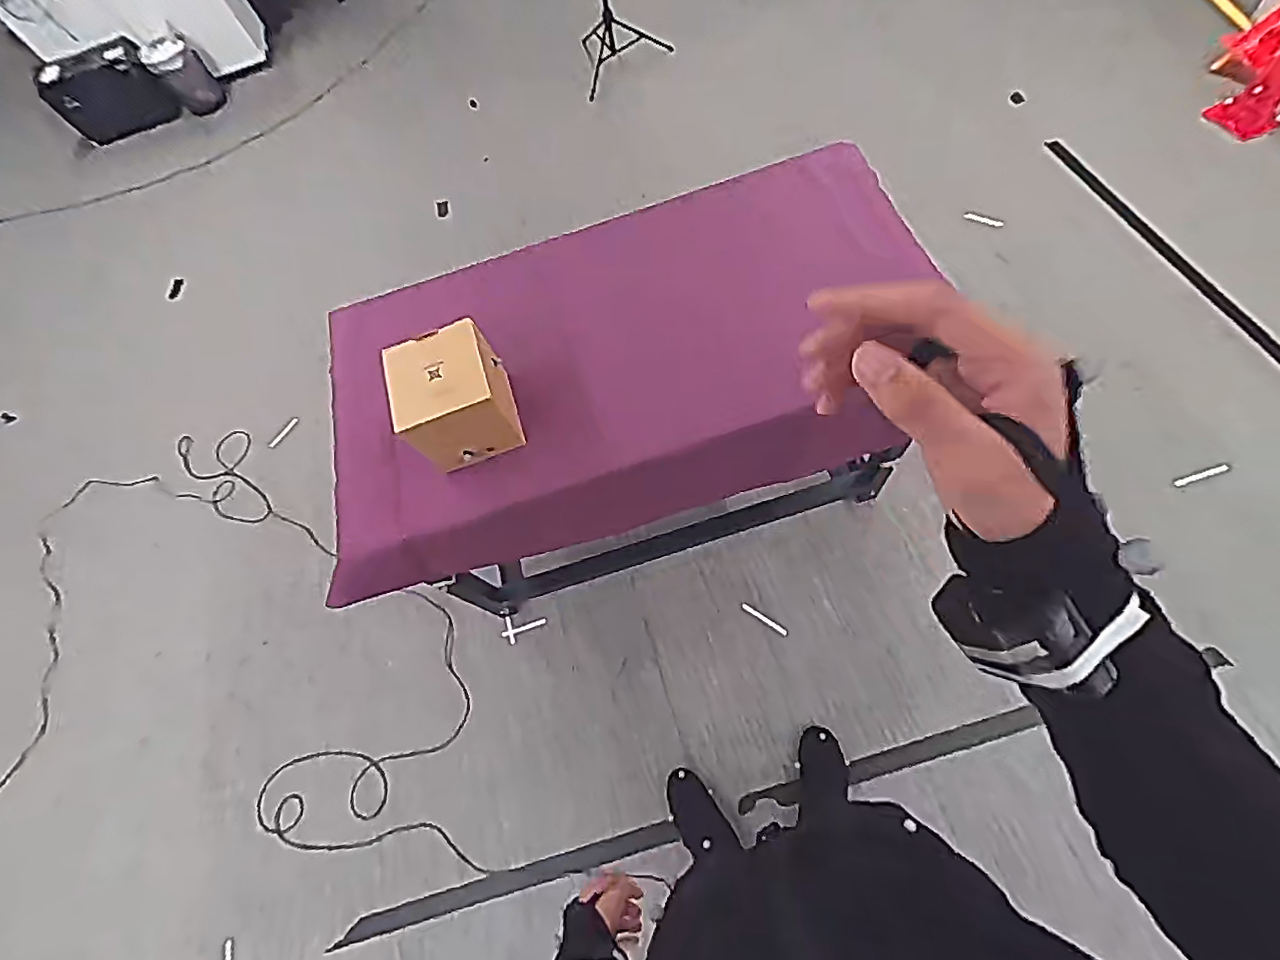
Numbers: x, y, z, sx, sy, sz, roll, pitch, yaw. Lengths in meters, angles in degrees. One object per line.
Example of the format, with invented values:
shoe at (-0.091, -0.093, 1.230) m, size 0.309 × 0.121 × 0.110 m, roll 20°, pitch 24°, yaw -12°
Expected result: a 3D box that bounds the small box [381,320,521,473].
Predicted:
small box at (-0.329, -0.141, 0.956) m, size 0.168 × 0.176 × 0.179 m, roll -20°, pitch 65°, yaw 0°
